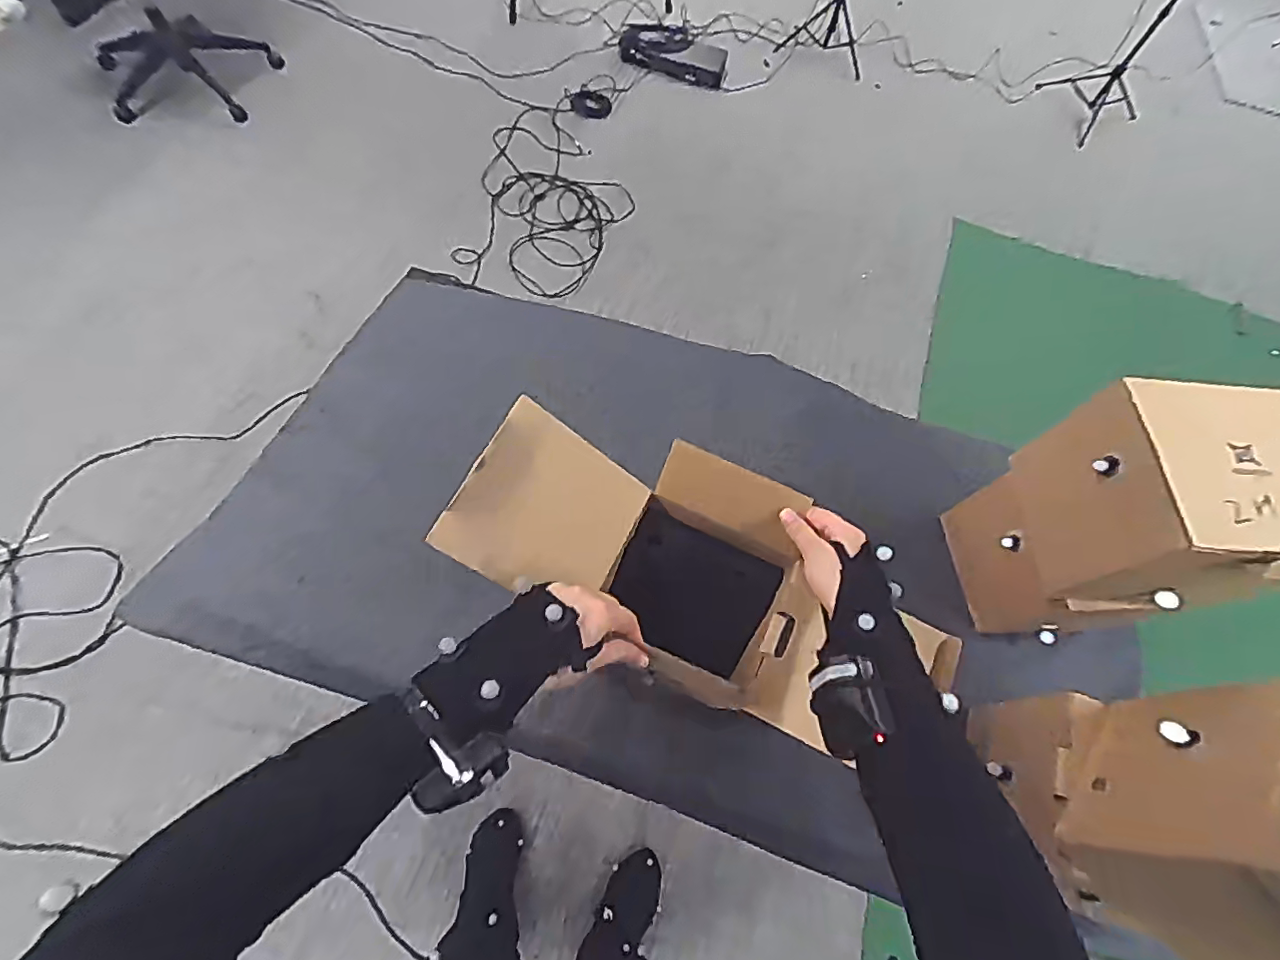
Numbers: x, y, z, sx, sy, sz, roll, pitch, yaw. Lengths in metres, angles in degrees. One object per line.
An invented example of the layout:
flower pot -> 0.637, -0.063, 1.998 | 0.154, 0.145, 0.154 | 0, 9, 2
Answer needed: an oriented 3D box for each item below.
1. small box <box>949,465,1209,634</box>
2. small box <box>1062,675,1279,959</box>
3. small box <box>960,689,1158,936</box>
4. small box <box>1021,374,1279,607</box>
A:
small box -> 0.533, 0.093, 0.692 | 0.168, 0.176, 0.179 | -1, 66, -3
small box -> 0.482, 0.282, 0.409 | 0.168, 0.176, 0.179 | -39, 73, -24
small box -> 0.469, 0.344, 0.561 | 0.179, 0.176, 0.168 | 24, 62, 7
small box -> 0.528, 0.018, 0.545 | 0.168, 0.176, 0.179 | 4, 65, 0
